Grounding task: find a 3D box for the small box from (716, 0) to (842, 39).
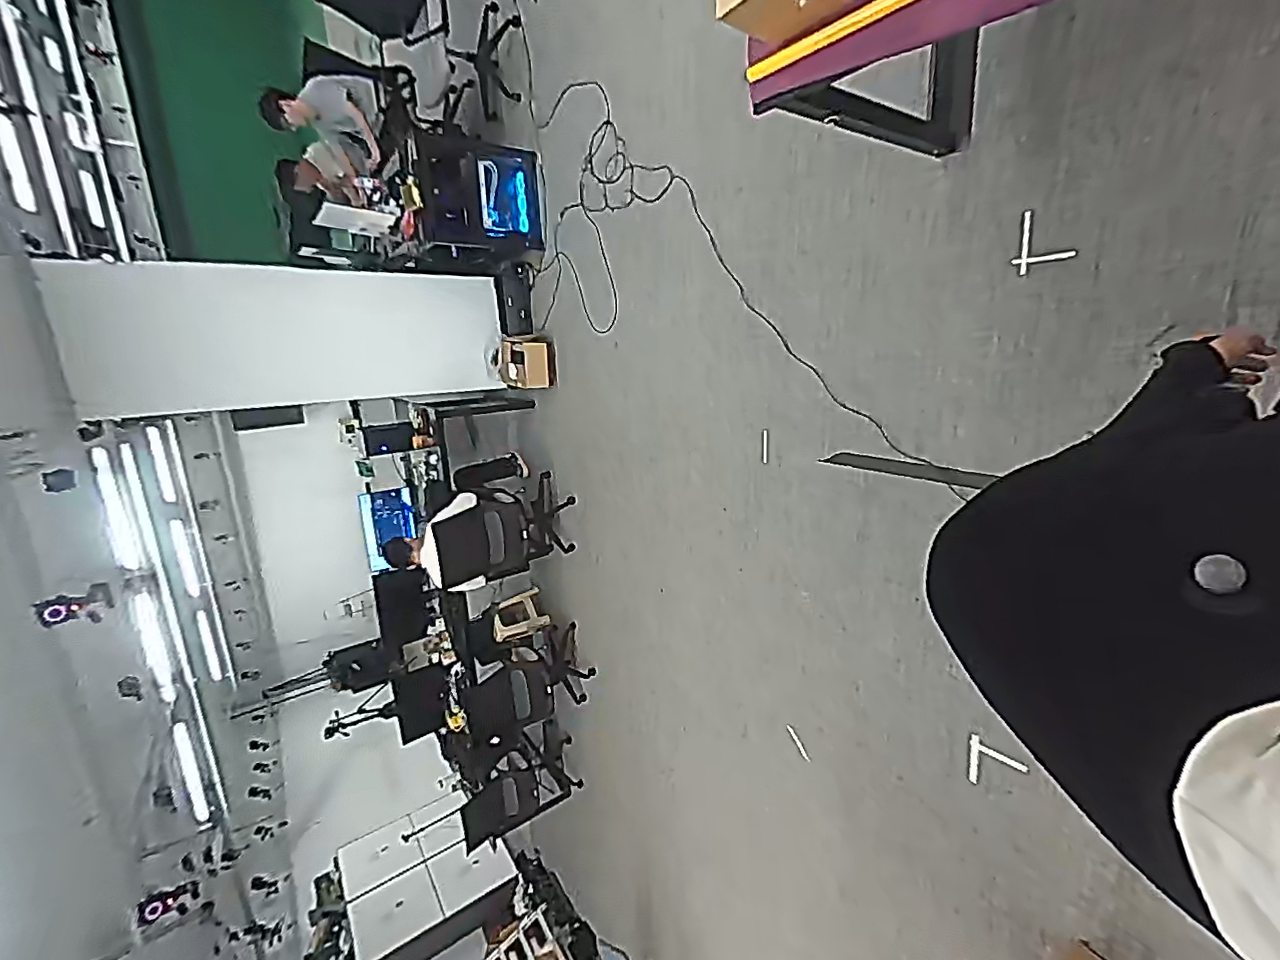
[{"bbox_3d":[0.249,-0.899,0.918,0.179,0.176,0.168,15,112,51],"label":"small box"}]
